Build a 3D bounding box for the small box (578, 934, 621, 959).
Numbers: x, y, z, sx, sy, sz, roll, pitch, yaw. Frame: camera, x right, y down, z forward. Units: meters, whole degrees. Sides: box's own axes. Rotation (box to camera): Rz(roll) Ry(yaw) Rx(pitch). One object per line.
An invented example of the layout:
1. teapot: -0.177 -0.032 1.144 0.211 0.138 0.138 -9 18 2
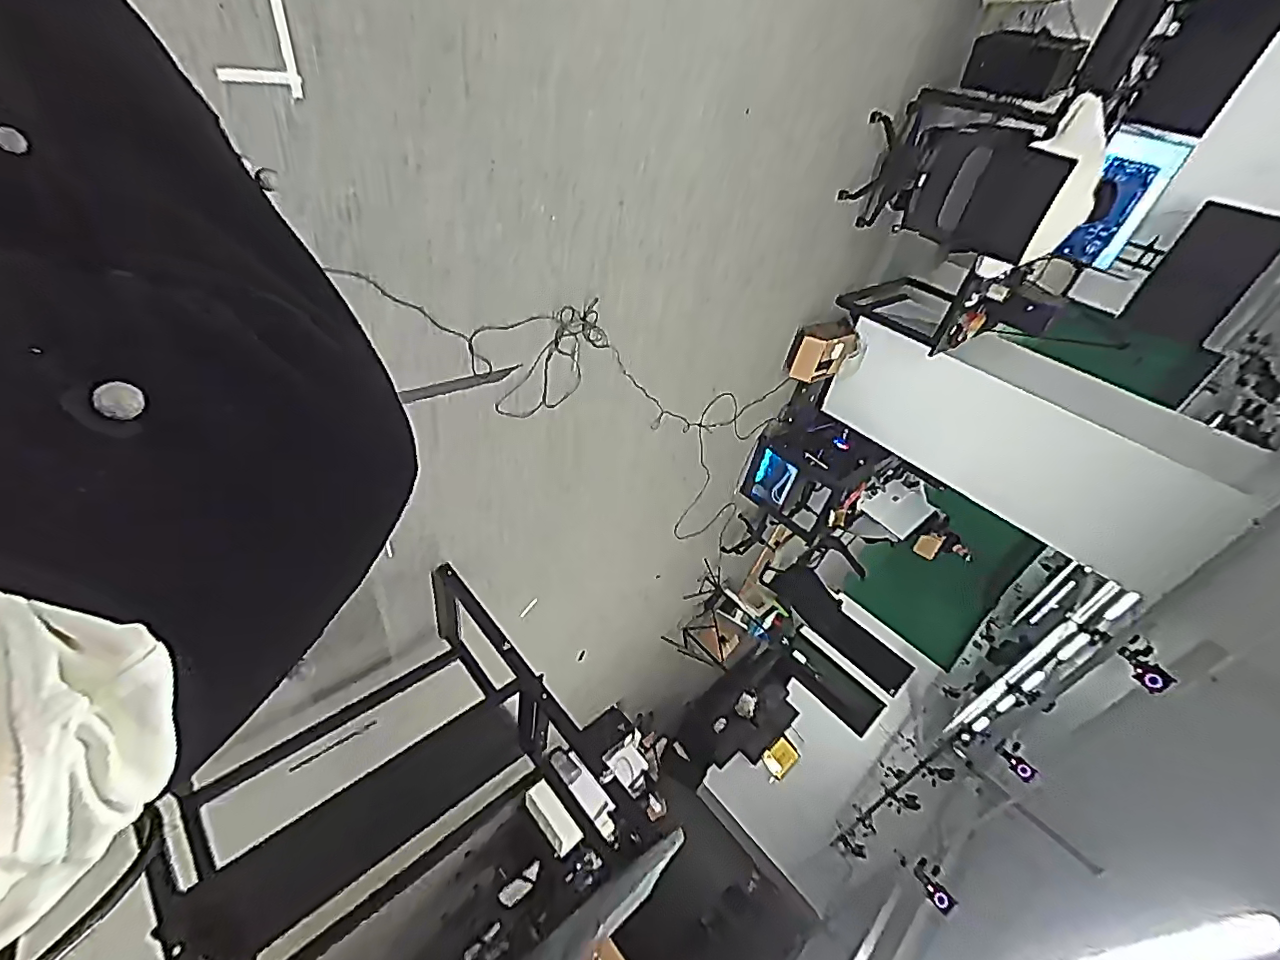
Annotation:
1. small box: -0.134 1.631 1.756 0.168 0.176 0.179 -30 144 -33
